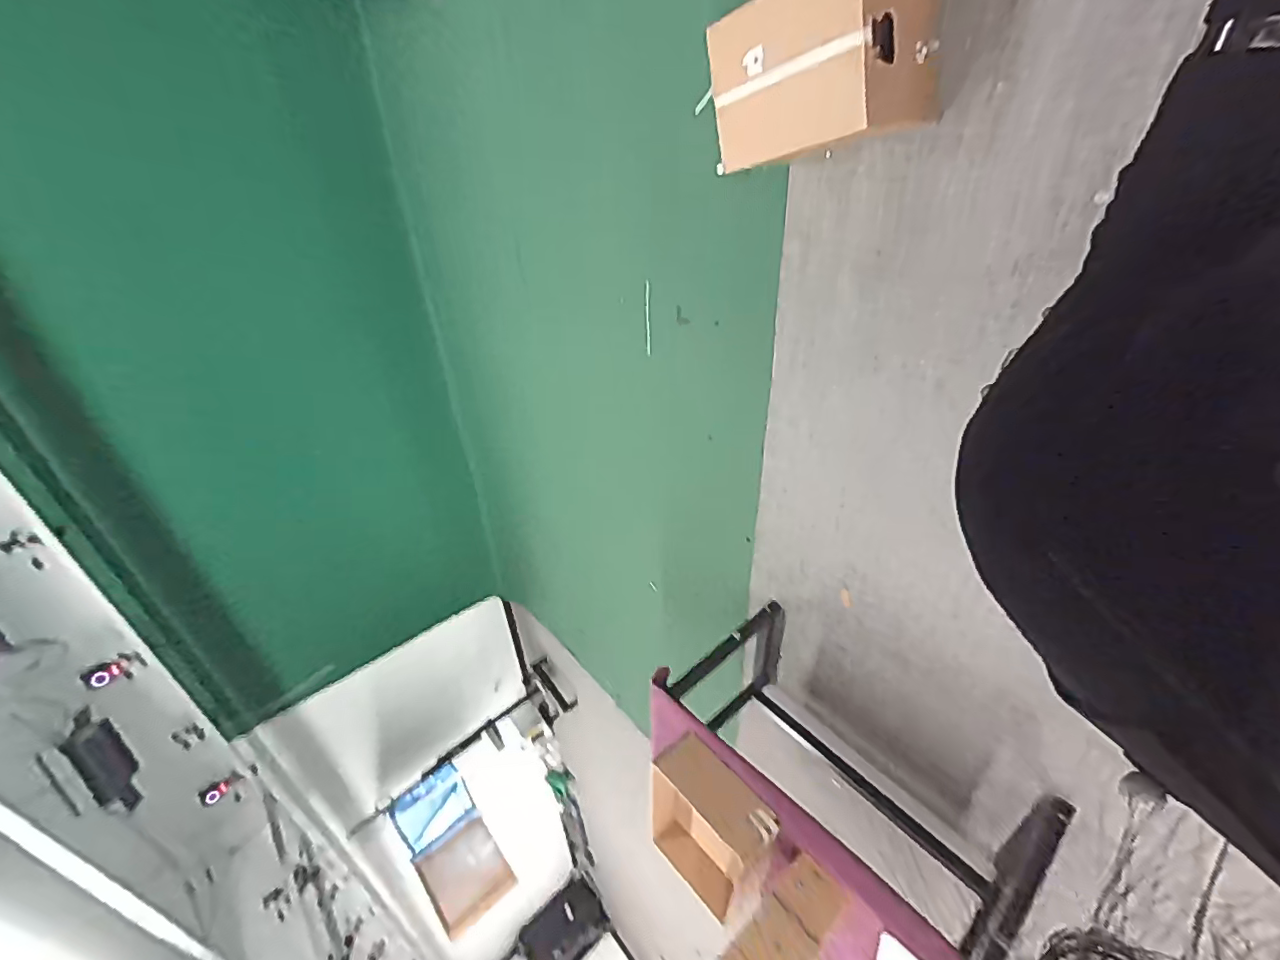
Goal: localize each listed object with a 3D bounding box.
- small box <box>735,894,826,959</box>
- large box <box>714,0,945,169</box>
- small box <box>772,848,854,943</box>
[{"bbox_3d":[0.382,1.294,1.491,0.179,0.176,0.168,33,139,38],"label":"small box"},{"bbox_3d":[0.441,-0.967,1.268,0.408,0.320,0.320,18,127,50],"label":"large box"},{"bbox_3d":[0.501,1.234,1.587,0.168,0.176,0.179,34,139,39],"label":"small box"}]
